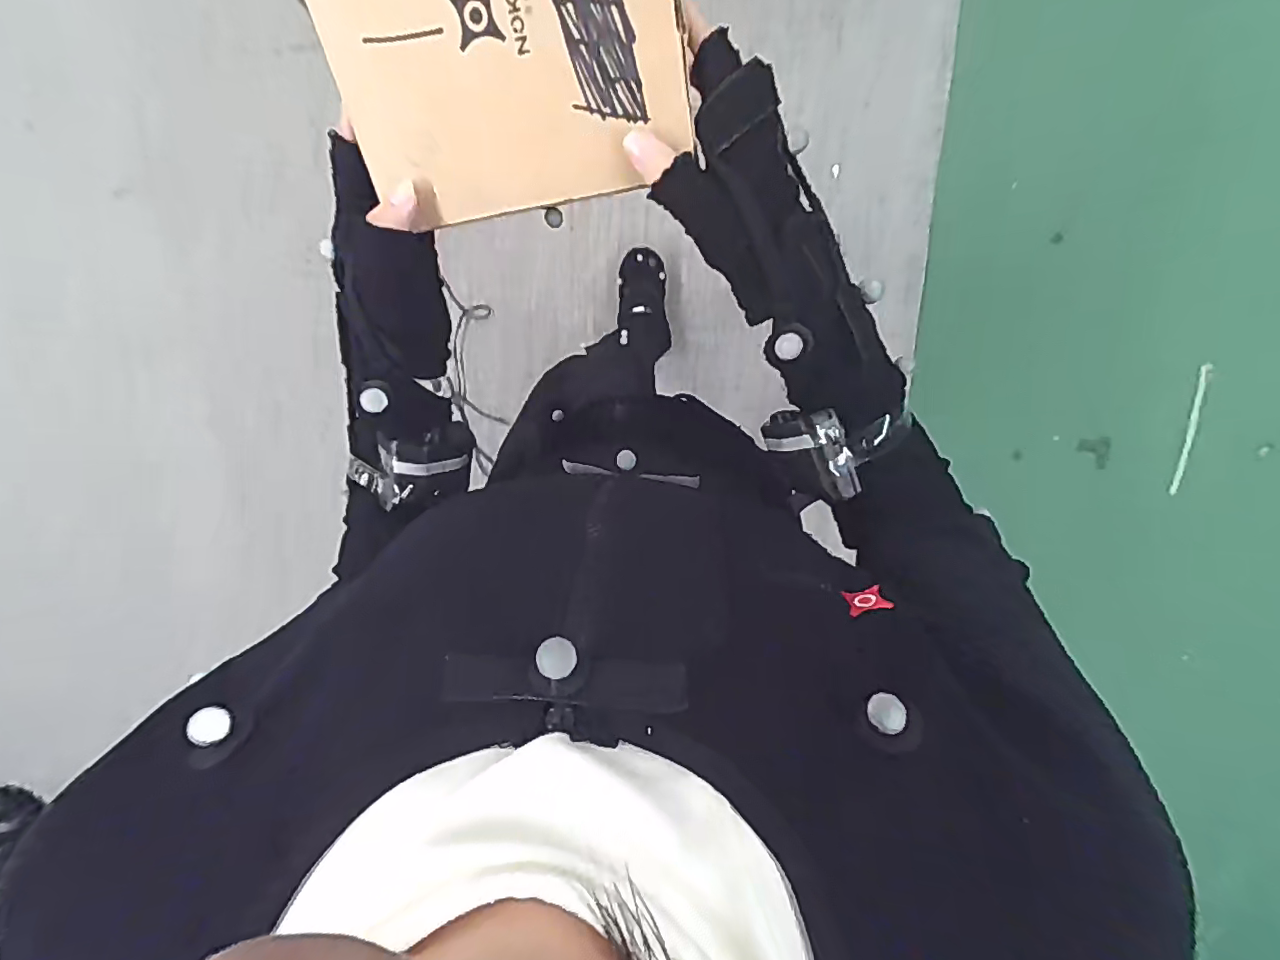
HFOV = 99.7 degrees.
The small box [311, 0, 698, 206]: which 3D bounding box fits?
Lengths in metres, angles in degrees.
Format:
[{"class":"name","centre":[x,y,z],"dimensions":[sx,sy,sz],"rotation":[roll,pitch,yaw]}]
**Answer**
[{"class":"small box","centre":[-0.065,-0.272,0.316],"dimensions":[0.179,0.176,0.168],"rotation":[-7,121,7]}]

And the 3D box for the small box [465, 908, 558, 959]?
[{"class":"small box","centre":[-0.270,1.034,1.122],"dimensions":[0.168,0.176,0.179],"rotation":[-3,101,4]}]

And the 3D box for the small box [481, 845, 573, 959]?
[{"class":"small box","centre":[-0.259,1.004,1.282],"dimensions":[0.179,0.176,0.168],"rotation":[-1,101,4]}]
